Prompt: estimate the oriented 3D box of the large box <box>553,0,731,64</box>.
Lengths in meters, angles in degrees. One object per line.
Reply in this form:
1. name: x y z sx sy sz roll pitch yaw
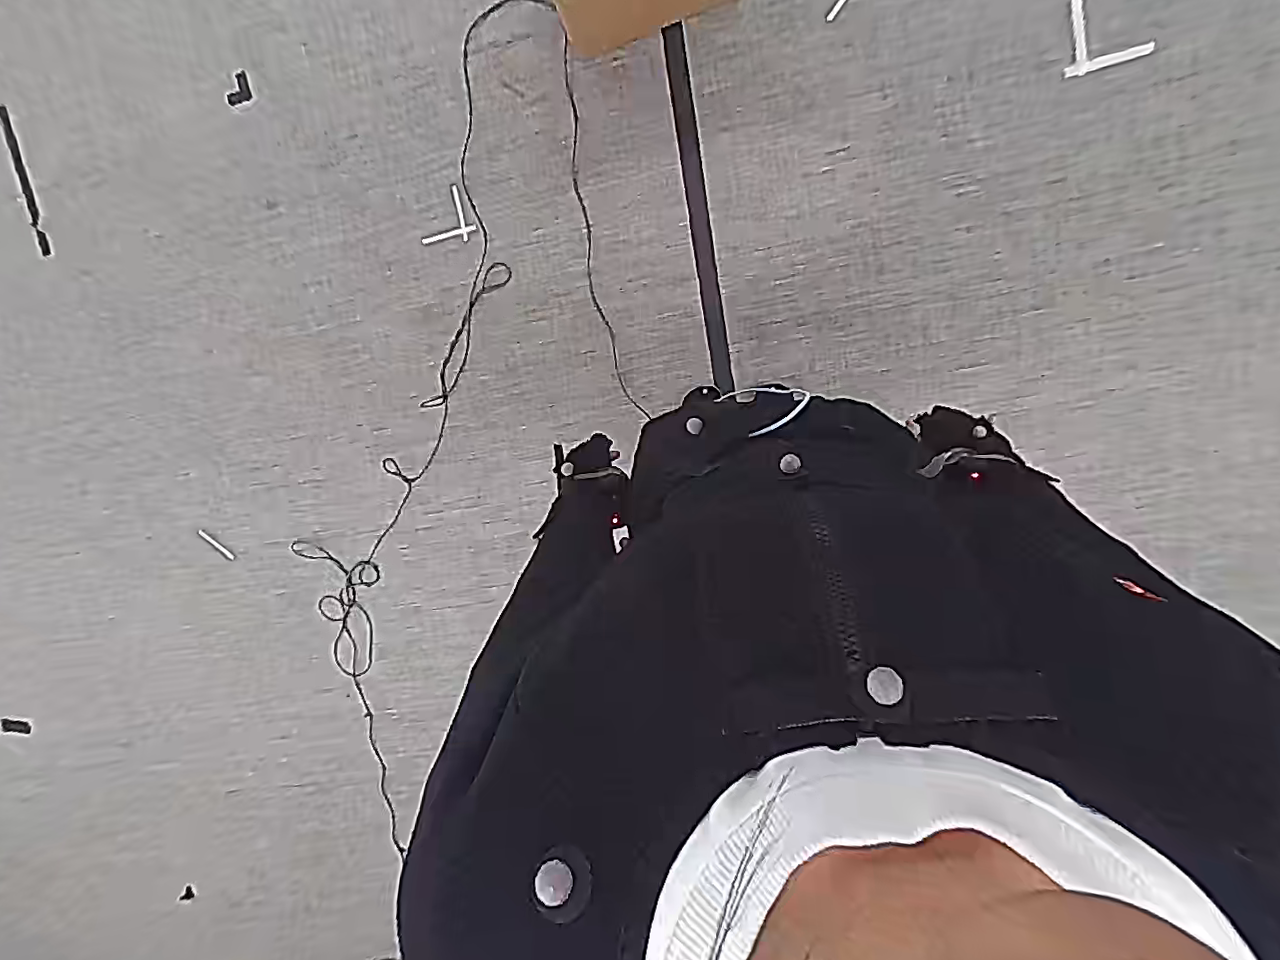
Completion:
1. large box: -0.025 -1.170 1.112 0.408 0.320 0.320 -16 99 8
